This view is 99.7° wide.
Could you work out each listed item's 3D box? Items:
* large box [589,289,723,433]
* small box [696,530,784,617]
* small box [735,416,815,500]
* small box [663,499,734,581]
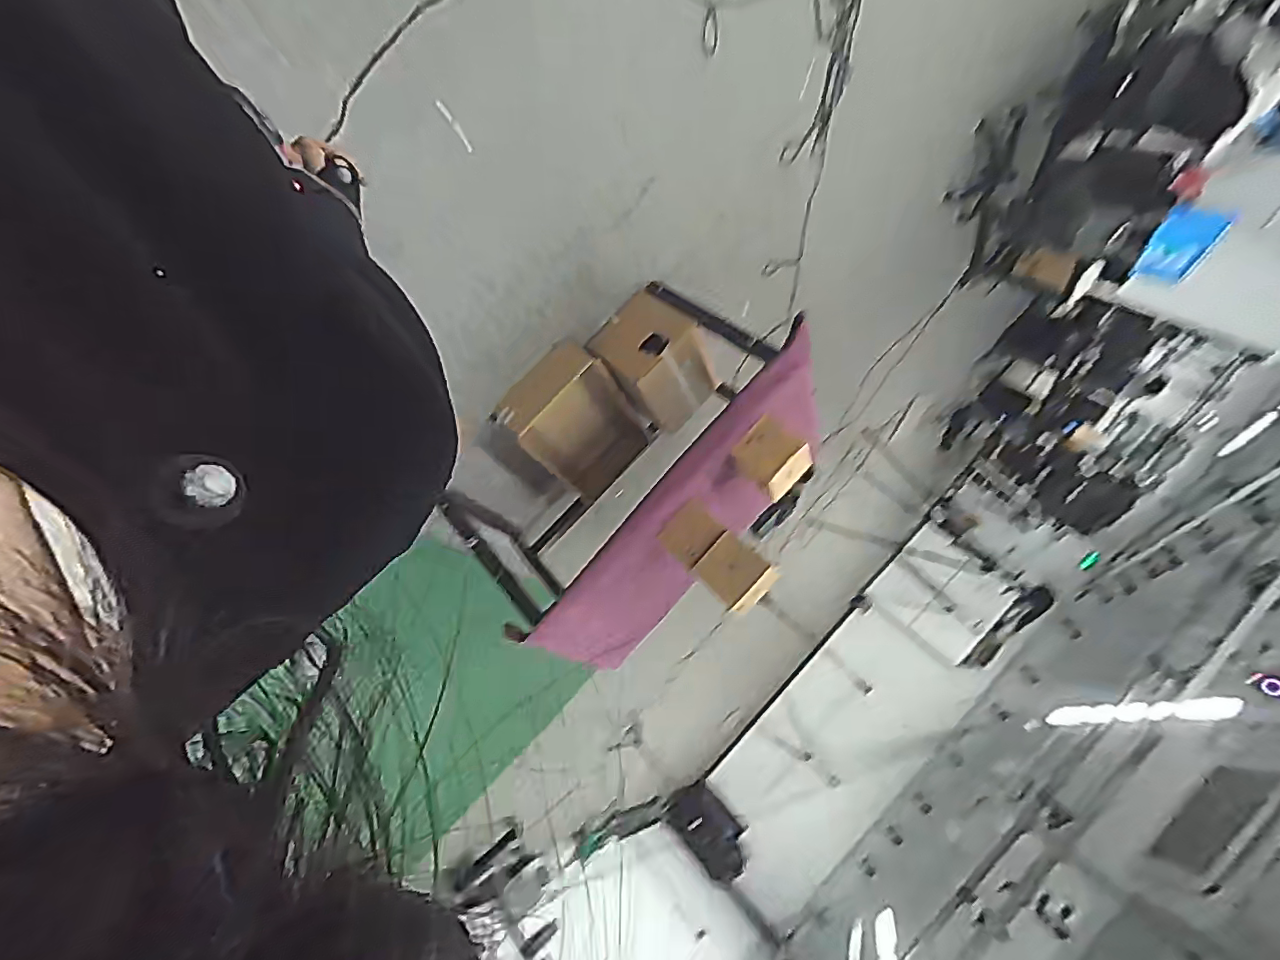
[{"bbox_3d":[0.070,-0.459,2.121,0.320,0.320,0.408,-47,147,-3],"label":"large box"},{"bbox_3d":[0.297,0.274,1.602,0.179,0.176,0.168,-49,148,-1],"label":"small box"},{"bbox_3d":[0.427,-0.072,1.709,0.168,0.176,0.179,-47,148,-3],"label":"small box"},{"bbox_3d":[0.194,0.192,1.703,0.179,0.176,0.168,-48,150,-2],"label":"small box"}]
